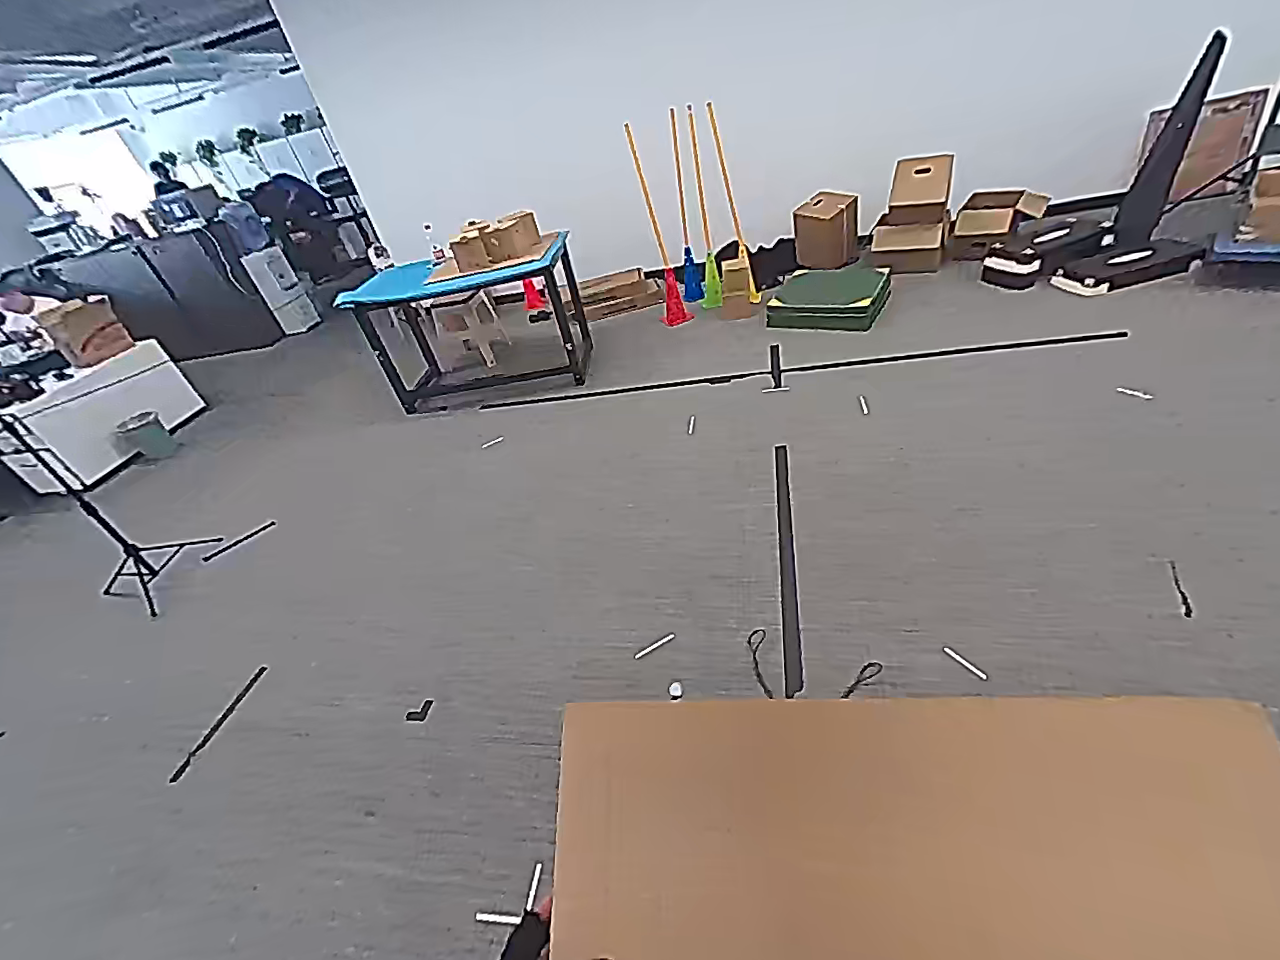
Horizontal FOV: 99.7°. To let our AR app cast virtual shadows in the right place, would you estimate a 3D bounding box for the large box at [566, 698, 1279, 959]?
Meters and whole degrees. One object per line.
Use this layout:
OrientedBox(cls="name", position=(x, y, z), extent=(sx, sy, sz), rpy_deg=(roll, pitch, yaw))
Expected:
OrientedBox(cls="large box", position=(0.181, 0.348, 0.419), extent=(0.408, 0.320, 0.320), rpy_deg=(-6, 65, 14))
